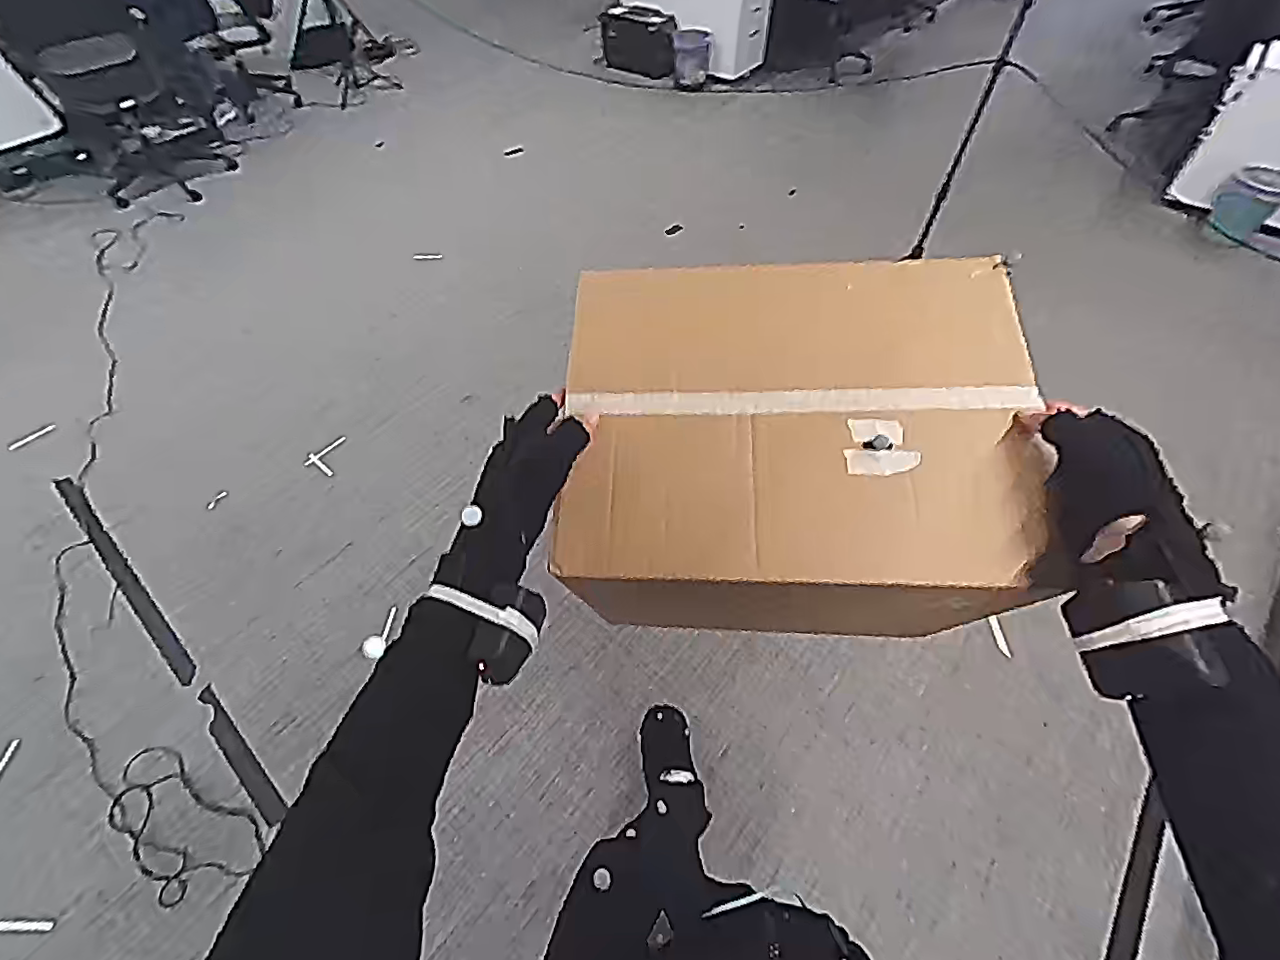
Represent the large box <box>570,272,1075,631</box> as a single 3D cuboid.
[{"bbox_3d":[0.154,-0.005,0.623,0.408,0.320,0.320,1,69,6],"label":"large box"}]
